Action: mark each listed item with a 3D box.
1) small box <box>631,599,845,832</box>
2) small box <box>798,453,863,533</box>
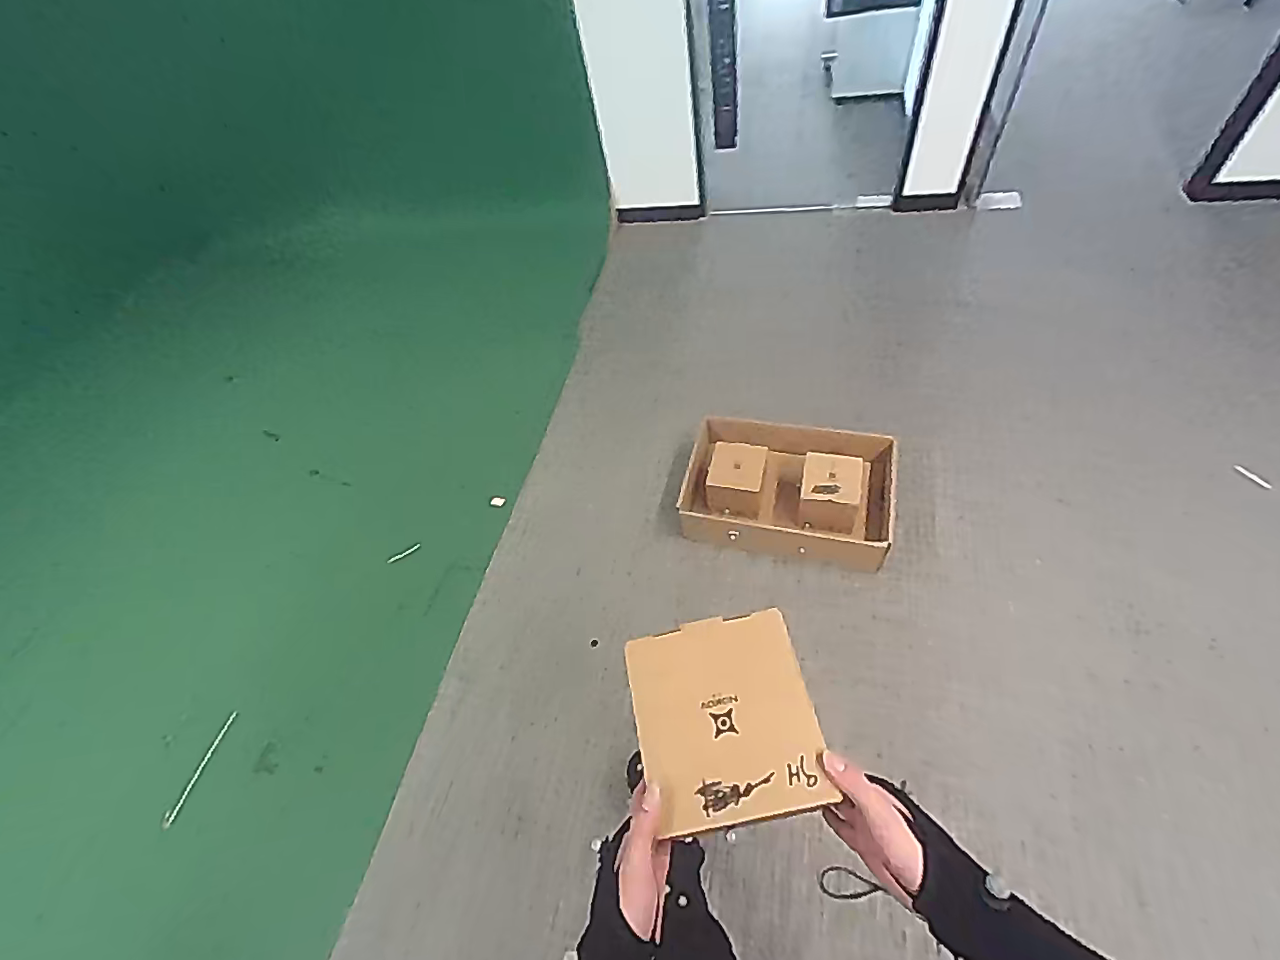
[{"bbox_3d":[0.092,0.251,0.567,0.168,0.176,0.179,-13,54,2],"label":"small box"},{"bbox_3d":[0.579,0.042,1.652,0.168,0.176,0.179,8,55,17],"label":"small box"}]
